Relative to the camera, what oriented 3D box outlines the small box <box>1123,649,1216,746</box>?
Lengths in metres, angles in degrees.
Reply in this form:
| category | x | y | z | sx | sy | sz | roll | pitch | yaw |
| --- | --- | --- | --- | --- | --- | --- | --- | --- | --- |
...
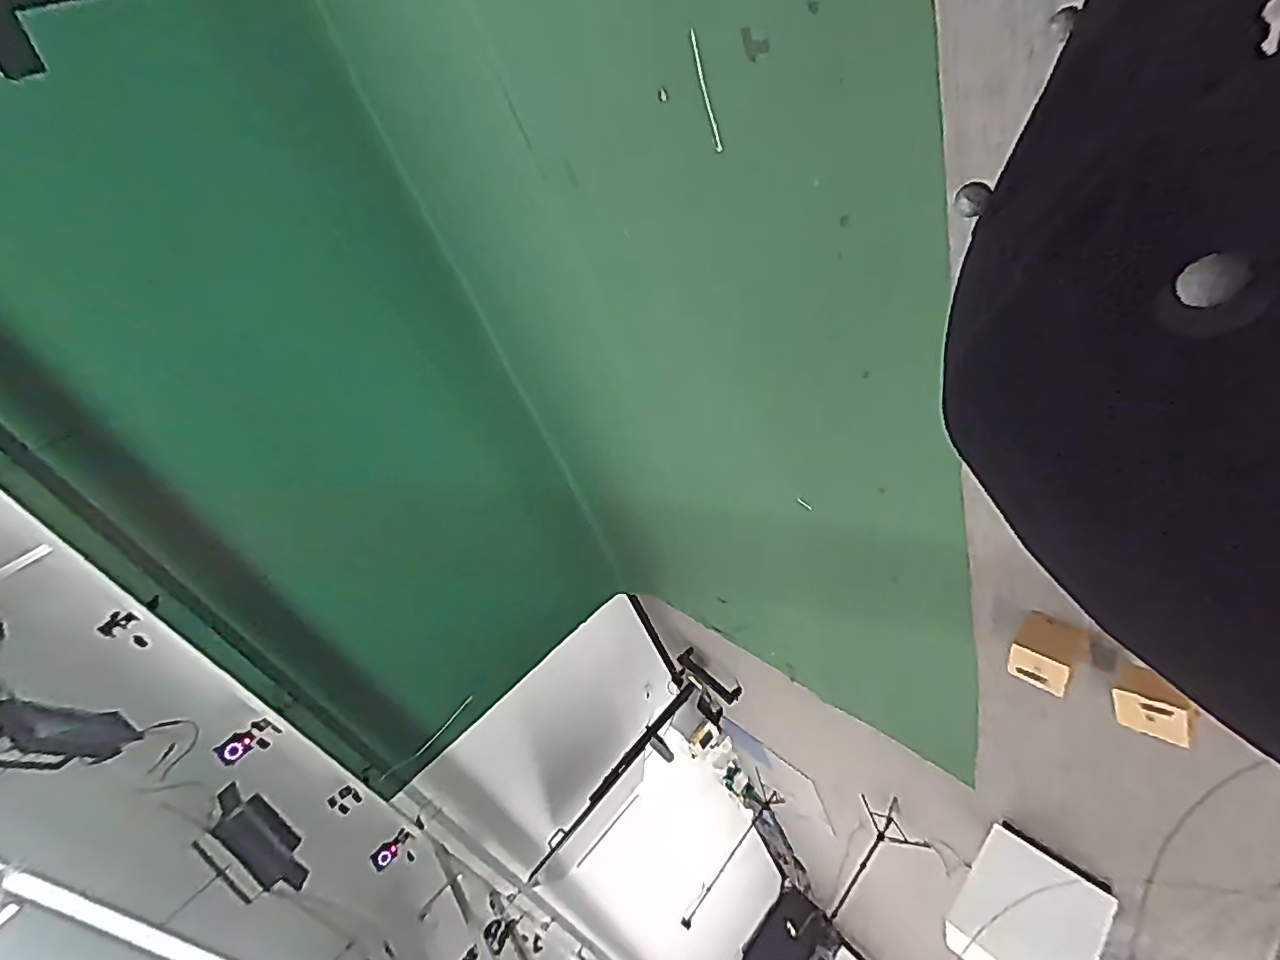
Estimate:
| category | x | y | z | sx | sy | sz | roll | pitch | yaw |
| --- | --- | --- | --- | --- | --- | --- | --- | --- | --- |
| small box | 1.574 | 0.637 | 1.607 | 0.168 | 0.176 | 0.179 | 11 | 135 | 56 |
